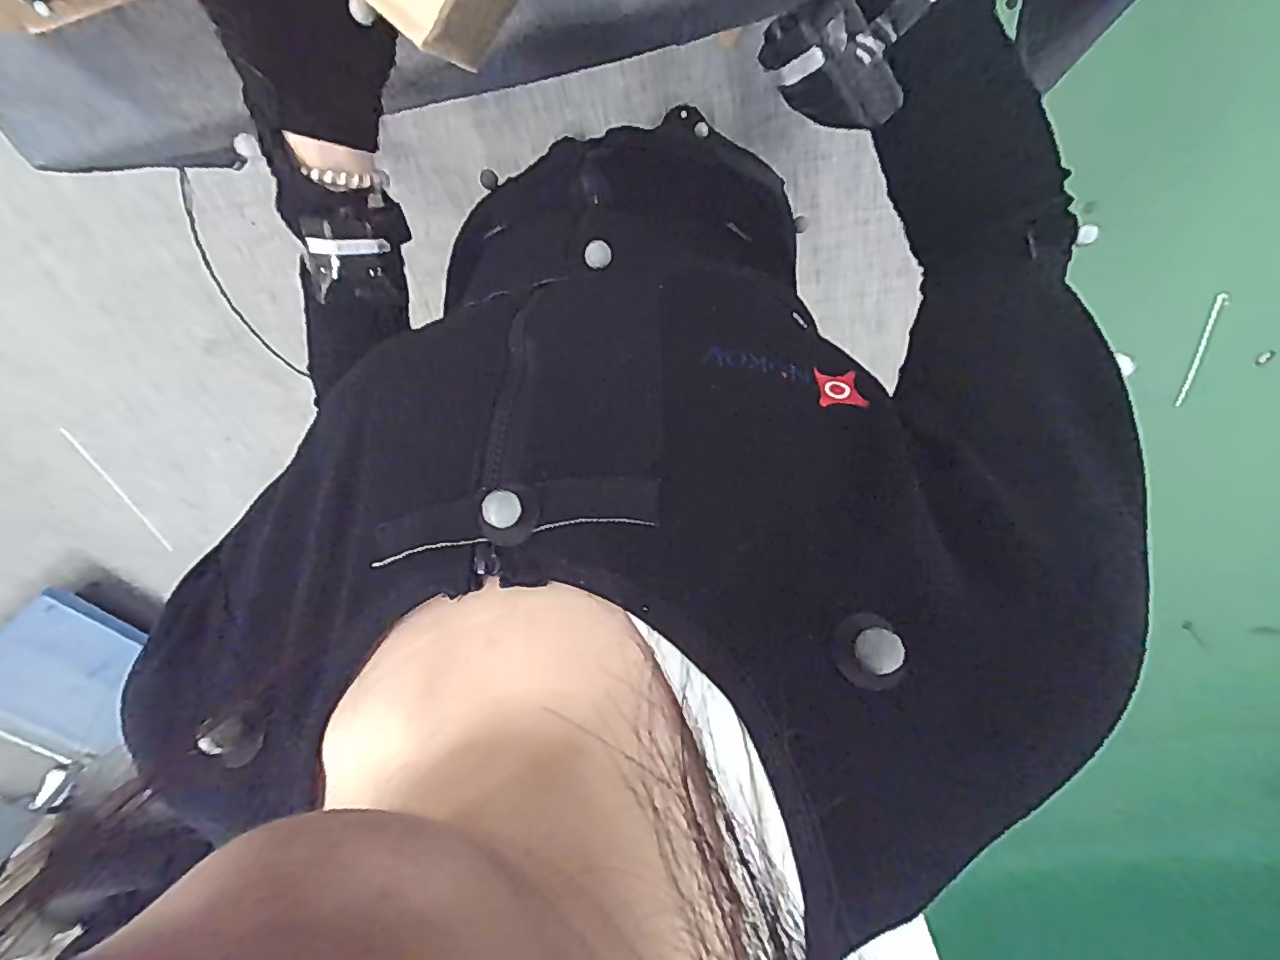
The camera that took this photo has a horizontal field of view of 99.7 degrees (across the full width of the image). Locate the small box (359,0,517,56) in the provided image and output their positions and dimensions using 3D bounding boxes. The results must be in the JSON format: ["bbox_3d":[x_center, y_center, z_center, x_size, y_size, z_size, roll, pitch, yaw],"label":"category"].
[{"bbox_3d":[-0.105,-0.324,0.228,0.168,0.176,0.179,32,115,-27],"label":"small box"}]
